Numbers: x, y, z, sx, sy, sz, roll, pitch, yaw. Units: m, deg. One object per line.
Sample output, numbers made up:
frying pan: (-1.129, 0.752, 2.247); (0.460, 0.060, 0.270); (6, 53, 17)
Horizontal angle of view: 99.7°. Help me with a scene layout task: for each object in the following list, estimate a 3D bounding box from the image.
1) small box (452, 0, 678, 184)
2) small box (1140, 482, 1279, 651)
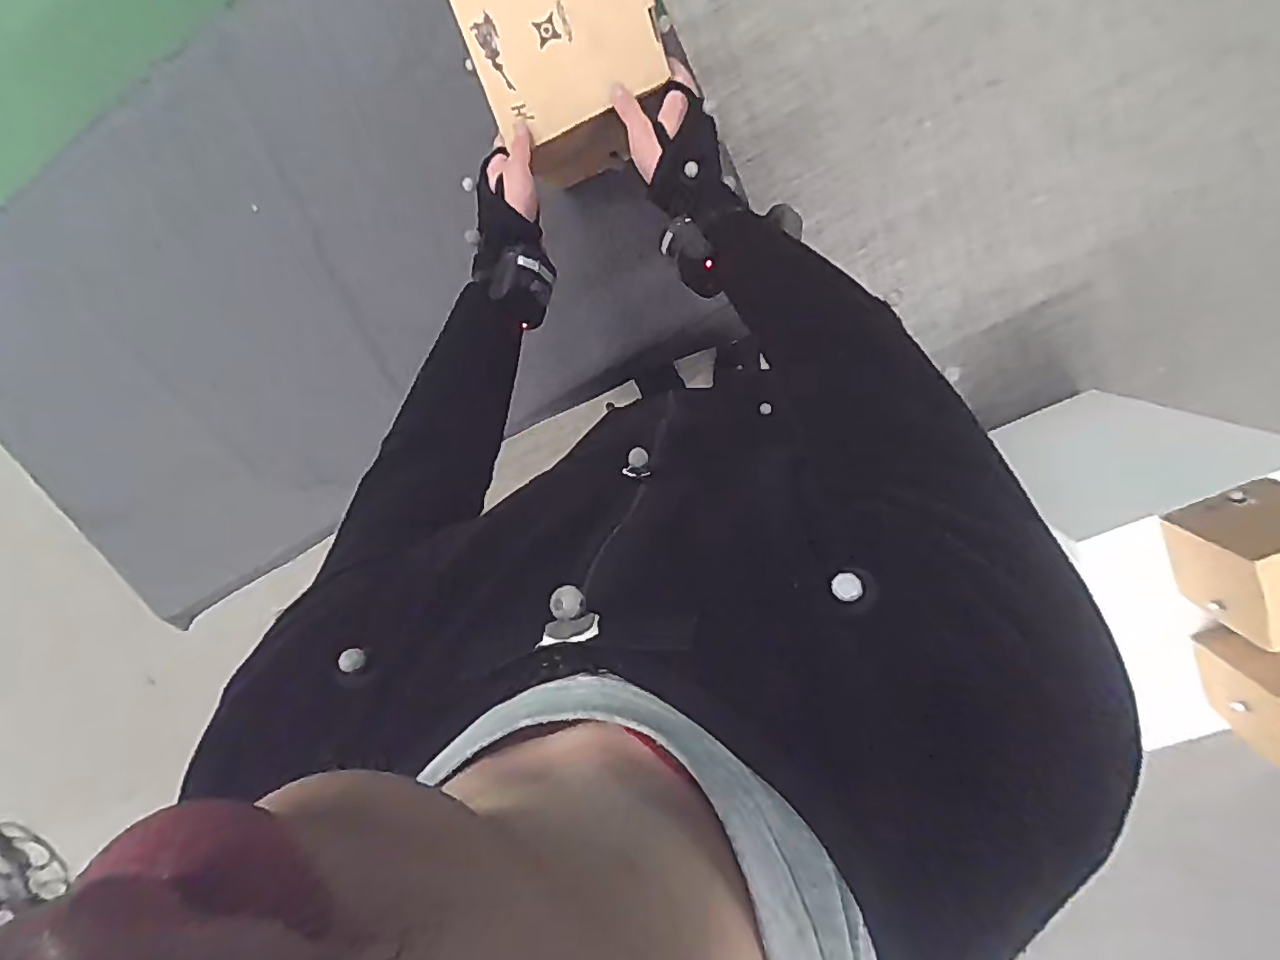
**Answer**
small box: (-0.065, -0.440, 0.565); (0.179, 0.176, 0.168); (-17, 104, 12)
small box: (0.966, 0.130, 0.866); (0.168, 0.176, 0.179); (-27, 106, 10)
